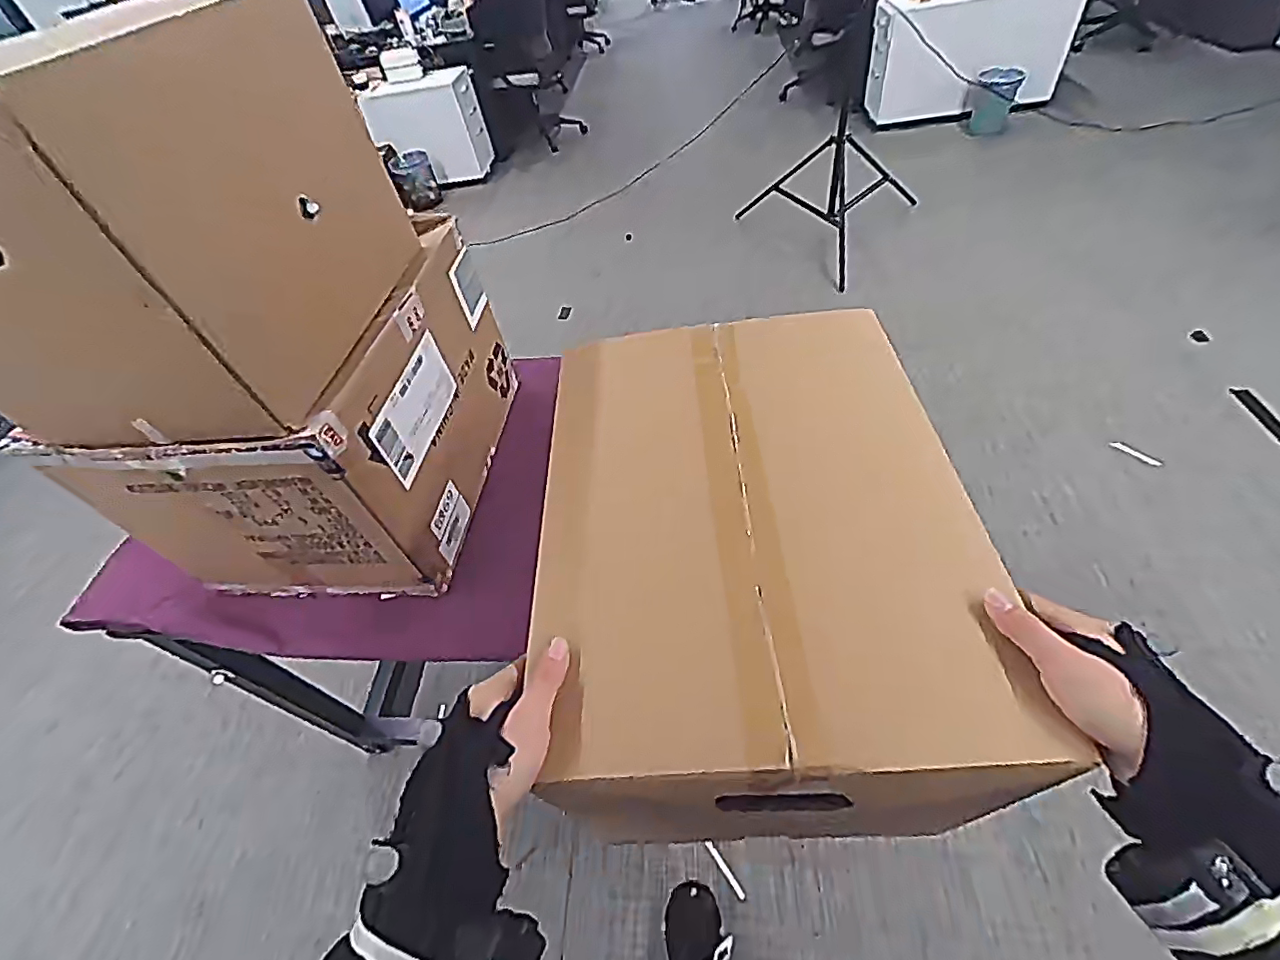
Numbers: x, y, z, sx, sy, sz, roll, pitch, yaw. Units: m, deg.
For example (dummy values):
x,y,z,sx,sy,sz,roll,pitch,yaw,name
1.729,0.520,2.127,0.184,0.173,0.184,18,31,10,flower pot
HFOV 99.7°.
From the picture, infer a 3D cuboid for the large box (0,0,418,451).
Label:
x,y,z,sx,sy,sz,roll,pitch,yaw,name
-0.508,-0.287,0.602,0.320,0.320,0.408,-4,49,9,large box
